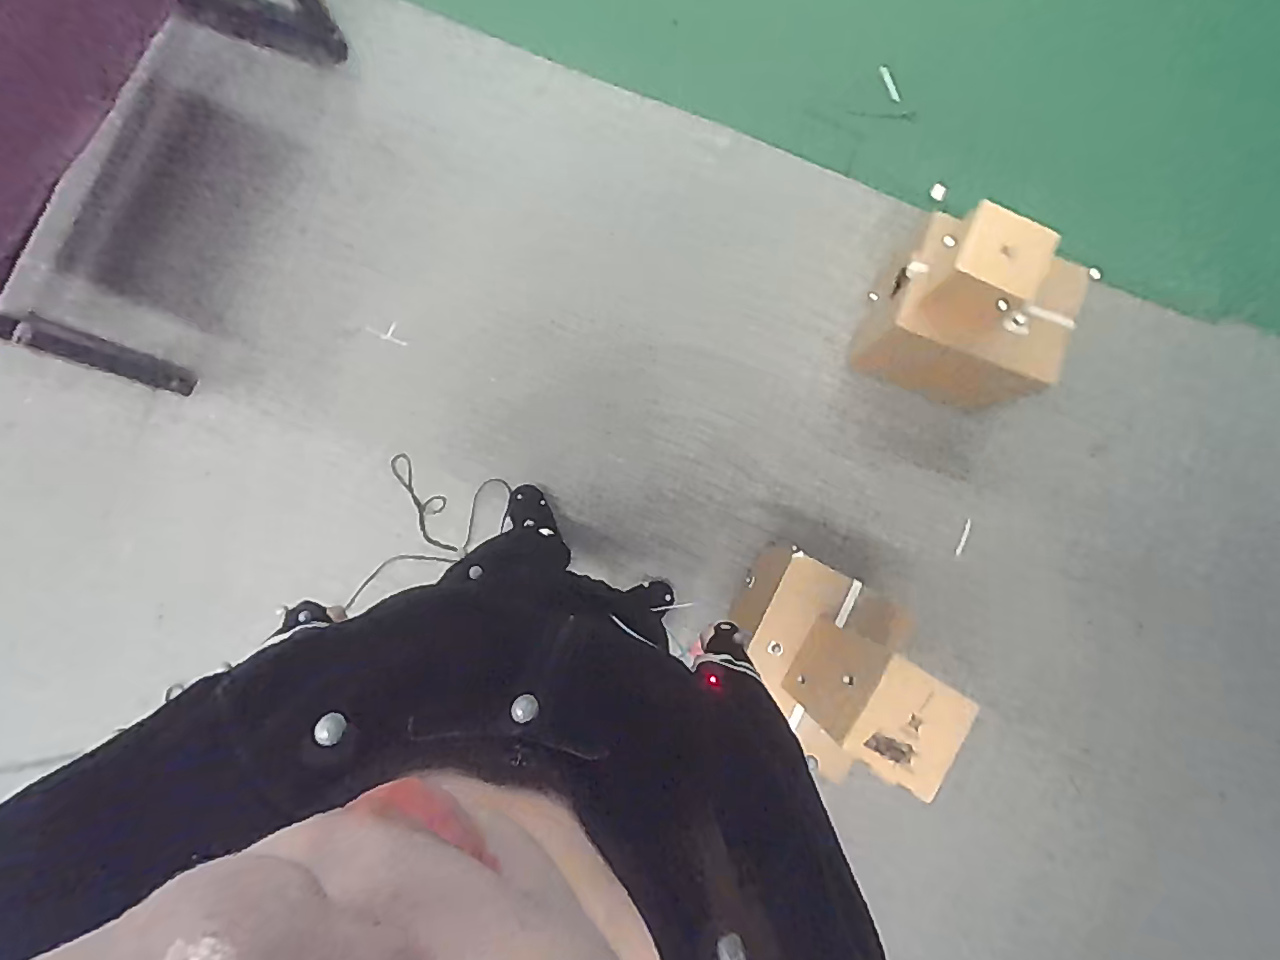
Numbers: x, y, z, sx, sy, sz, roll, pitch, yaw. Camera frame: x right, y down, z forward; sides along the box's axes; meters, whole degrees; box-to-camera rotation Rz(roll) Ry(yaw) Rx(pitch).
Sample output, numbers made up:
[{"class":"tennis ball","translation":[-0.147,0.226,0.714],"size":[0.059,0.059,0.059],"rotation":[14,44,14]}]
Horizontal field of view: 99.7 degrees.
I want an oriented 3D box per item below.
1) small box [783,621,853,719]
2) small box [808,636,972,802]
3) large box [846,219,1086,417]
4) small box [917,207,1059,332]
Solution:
[{"class":"small box","translation":[0.412,0.413,1.101],"size":[0.168,0.176,0.179],"rotation":[32,84,0]},{"class":"small box","translation":[0.415,0.400,0.937],"size":[0.168,0.176,0.179],"rotation":[33,84,0]},{"class":"large box","translation":[0.835,-0.407,1.438],"size":[0.408,0.320,0.320],"rotation":[23,84,0]},{"class":"small box","translation":[0.755,-0.452,1.194],"size":[0.179,0.176,0.168],"rotation":[26,85,0]}]
